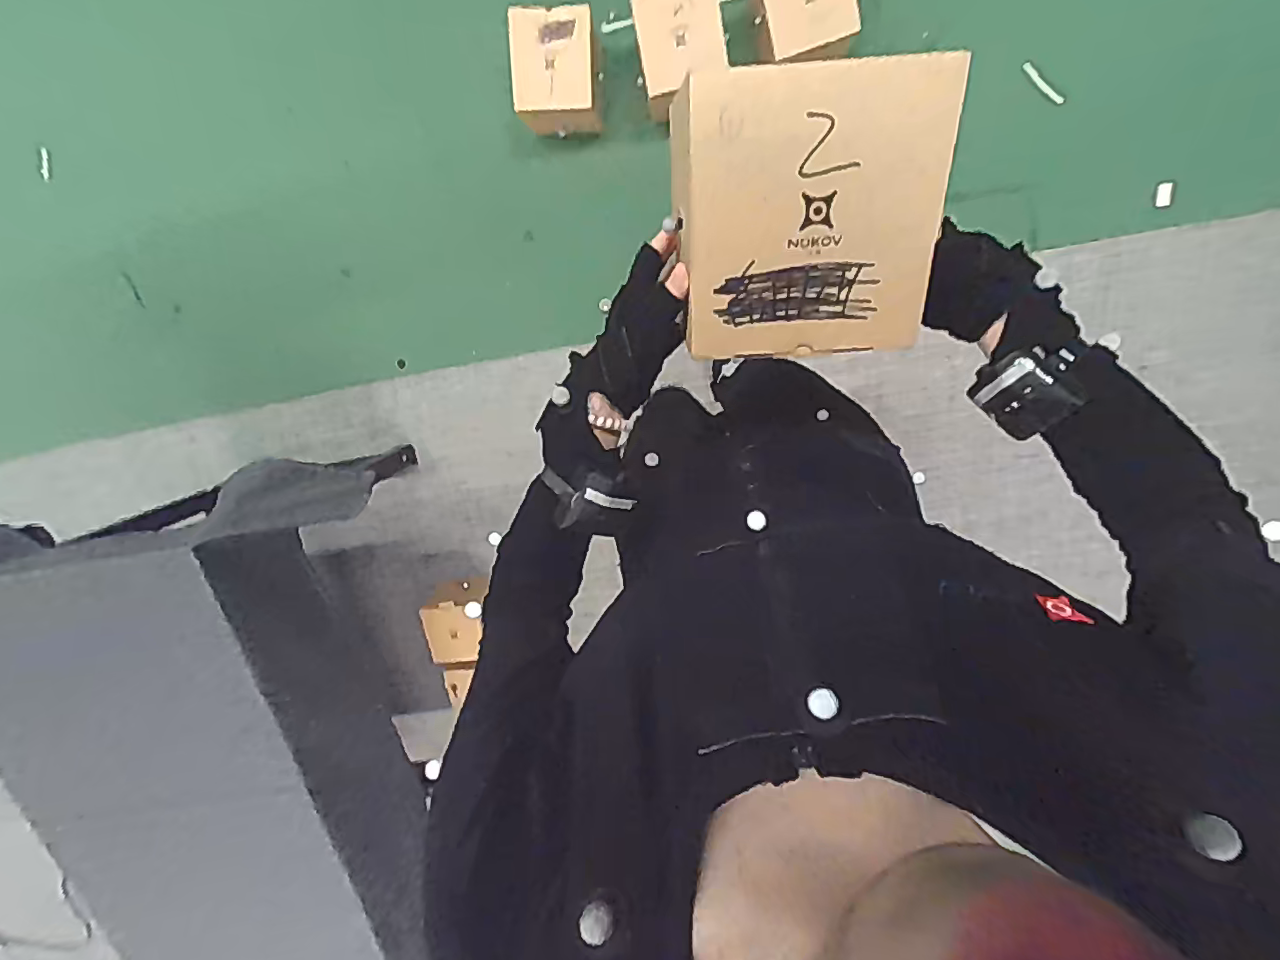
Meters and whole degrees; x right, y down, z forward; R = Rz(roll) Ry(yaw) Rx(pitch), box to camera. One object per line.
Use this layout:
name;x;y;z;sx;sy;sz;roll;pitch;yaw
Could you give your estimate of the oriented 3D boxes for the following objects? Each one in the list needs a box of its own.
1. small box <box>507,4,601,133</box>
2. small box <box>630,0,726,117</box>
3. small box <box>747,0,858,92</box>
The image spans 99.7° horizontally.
small box;-0.176;-0.863;1.150;0.168;0.176;0.179;2;108;4
small box;0.081;-0.886;1.124;0.168;0.176;0.179;-11;106;6
small box;0.321;-0.937;1.094;0.168;0.176;0.179;-14;105;8
